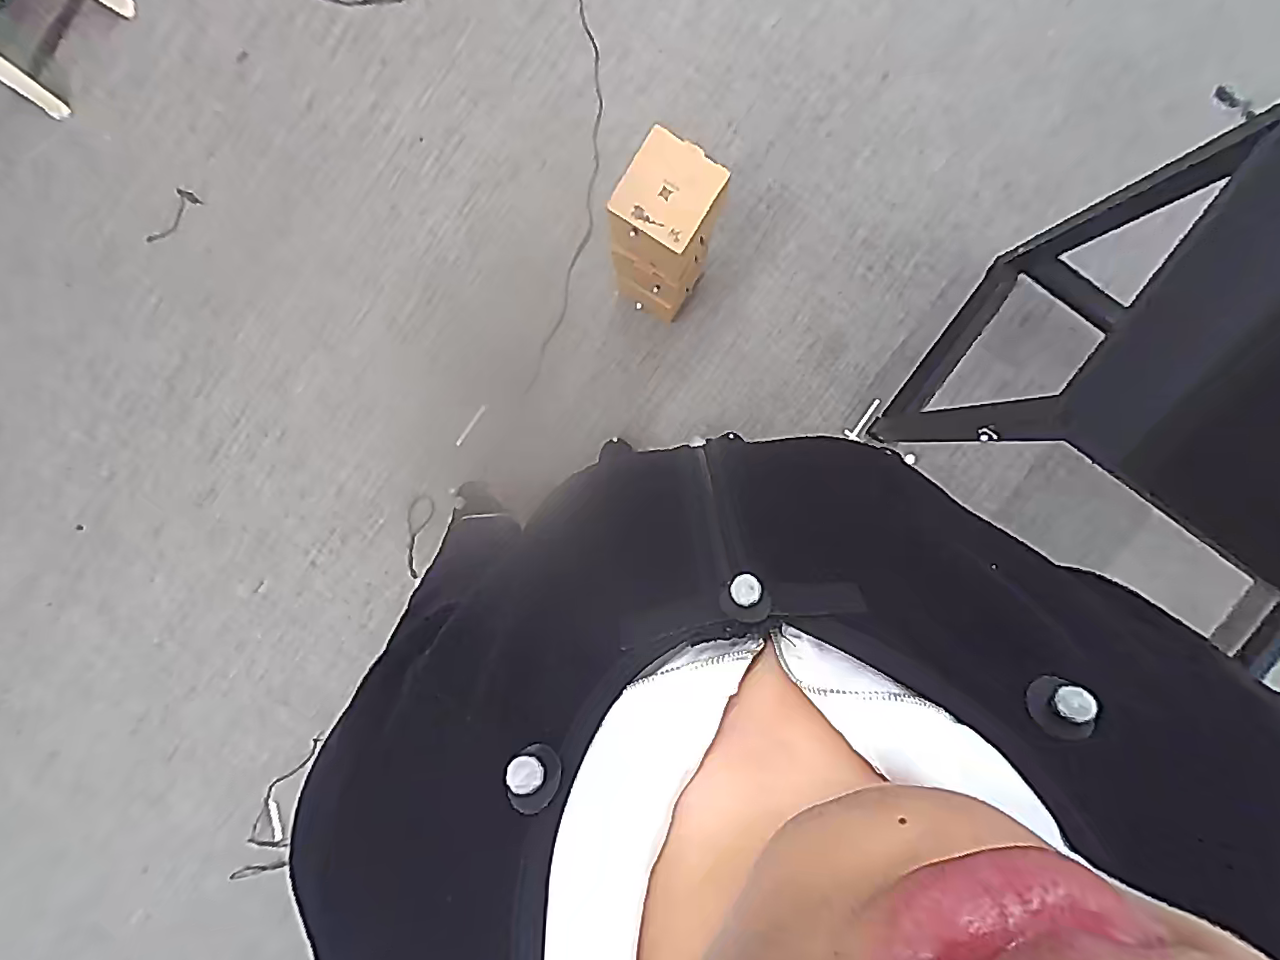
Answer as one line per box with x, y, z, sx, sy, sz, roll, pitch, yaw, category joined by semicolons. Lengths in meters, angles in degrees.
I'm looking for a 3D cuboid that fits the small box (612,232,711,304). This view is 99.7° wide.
0.054;-0.529;1.228;0.168;0.176;0.179;29;92;-1;small box

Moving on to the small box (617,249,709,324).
0.057;-0.532;1.390;0.168;0.176;0.179;33;94;0;small box

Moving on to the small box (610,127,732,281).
0.056;-0.529;1.063;0.168;0.176;0.179;32;93;0;small box
